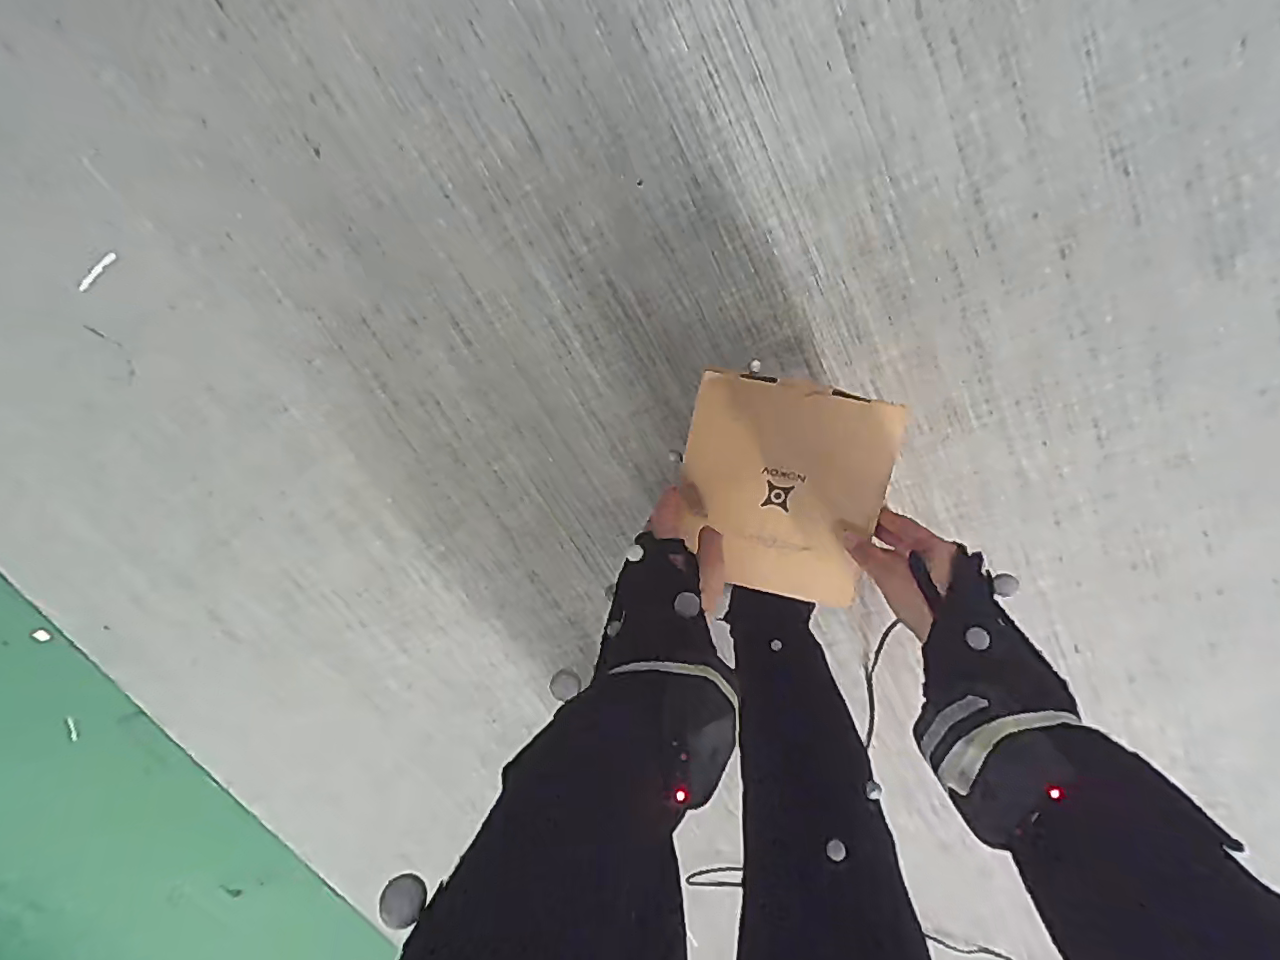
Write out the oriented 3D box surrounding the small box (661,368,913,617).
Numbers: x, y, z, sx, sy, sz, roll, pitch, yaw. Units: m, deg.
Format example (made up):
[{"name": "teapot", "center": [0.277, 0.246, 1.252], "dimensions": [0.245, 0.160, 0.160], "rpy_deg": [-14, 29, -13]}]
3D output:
[{"name": "small box", "center": [0.122, -0.002, 0.509], "dimensions": [0.168, 0.176, 0.179], "rpy_deg": [12, 102, 5]}]
